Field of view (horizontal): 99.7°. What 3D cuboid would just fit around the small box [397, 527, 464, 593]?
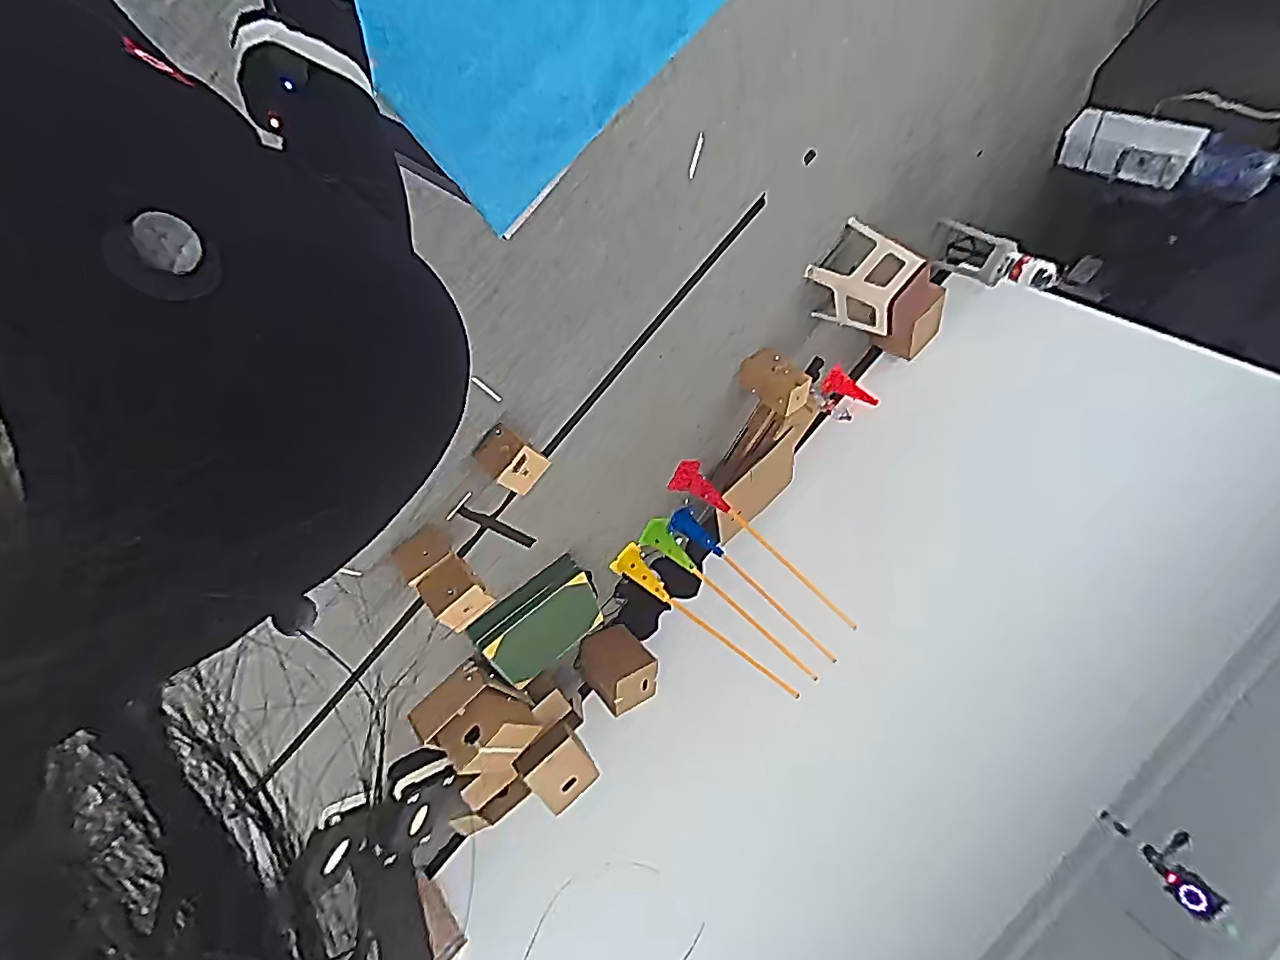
[{"bbox_3d":[-0.770,0.307,2.018,0.179,0.176,0.168,-39,148,-14],"label":"small box"}]

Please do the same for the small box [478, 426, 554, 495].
[{"bbox_3d":[-0.458,-0.076,1.990,0.168,0.176,0.179,-50,149,1],"label":"small box"}]

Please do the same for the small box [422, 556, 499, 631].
[{"bbox_3d":[-0.651,0.407,1.955,0.179,0.176,0.168,-40,147,-12],"label":"small box"}]
